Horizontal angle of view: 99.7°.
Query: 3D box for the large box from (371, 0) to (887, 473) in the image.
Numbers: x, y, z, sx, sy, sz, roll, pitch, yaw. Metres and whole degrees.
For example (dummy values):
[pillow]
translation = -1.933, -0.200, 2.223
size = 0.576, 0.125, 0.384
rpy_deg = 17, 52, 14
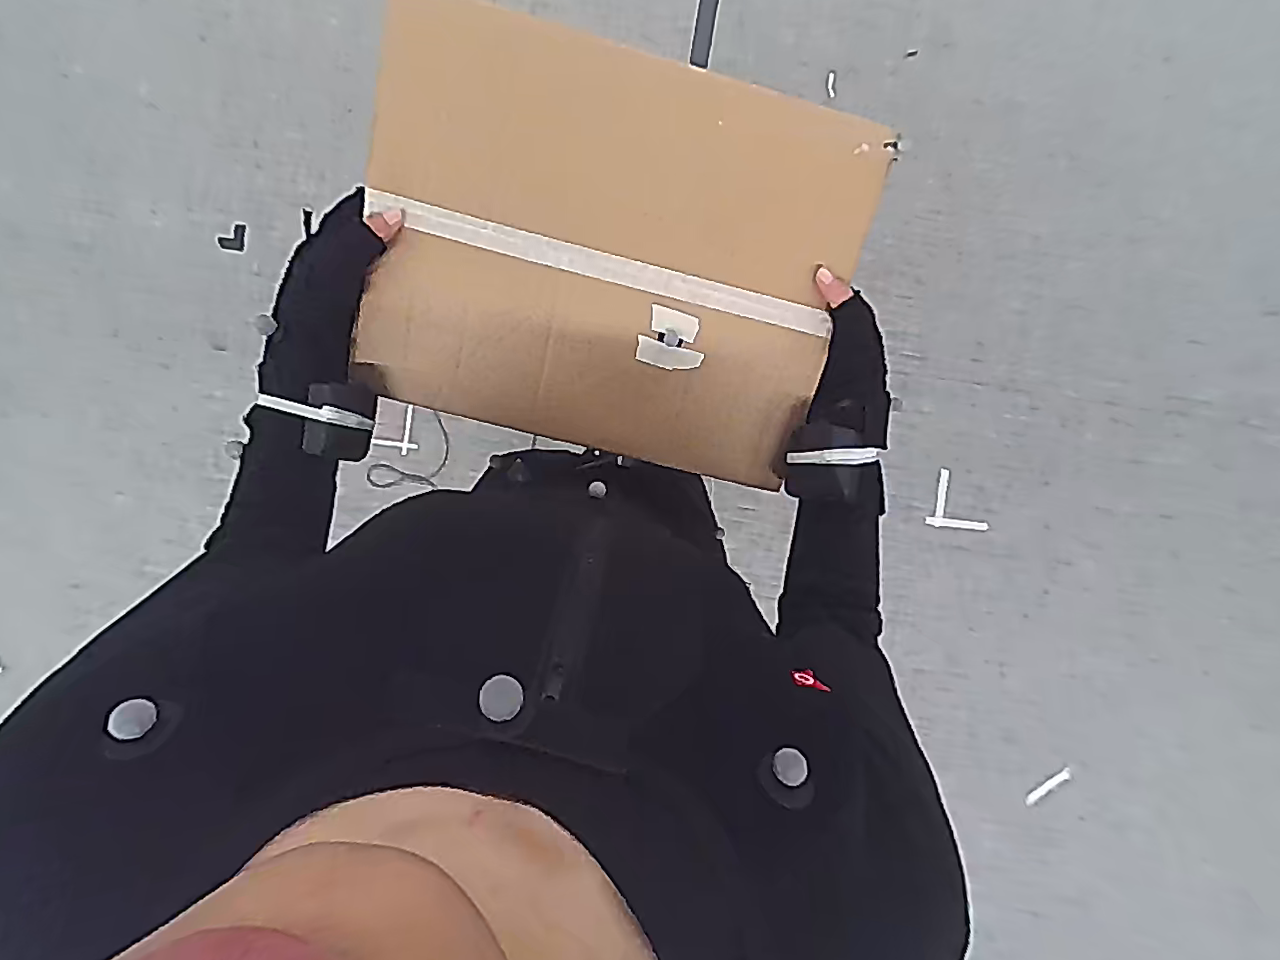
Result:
[large box]
translation = -0.026, -0.230, 0.612
size = 0.408, 0.320, 0.320
rpy_deg = 13, 107, -6
